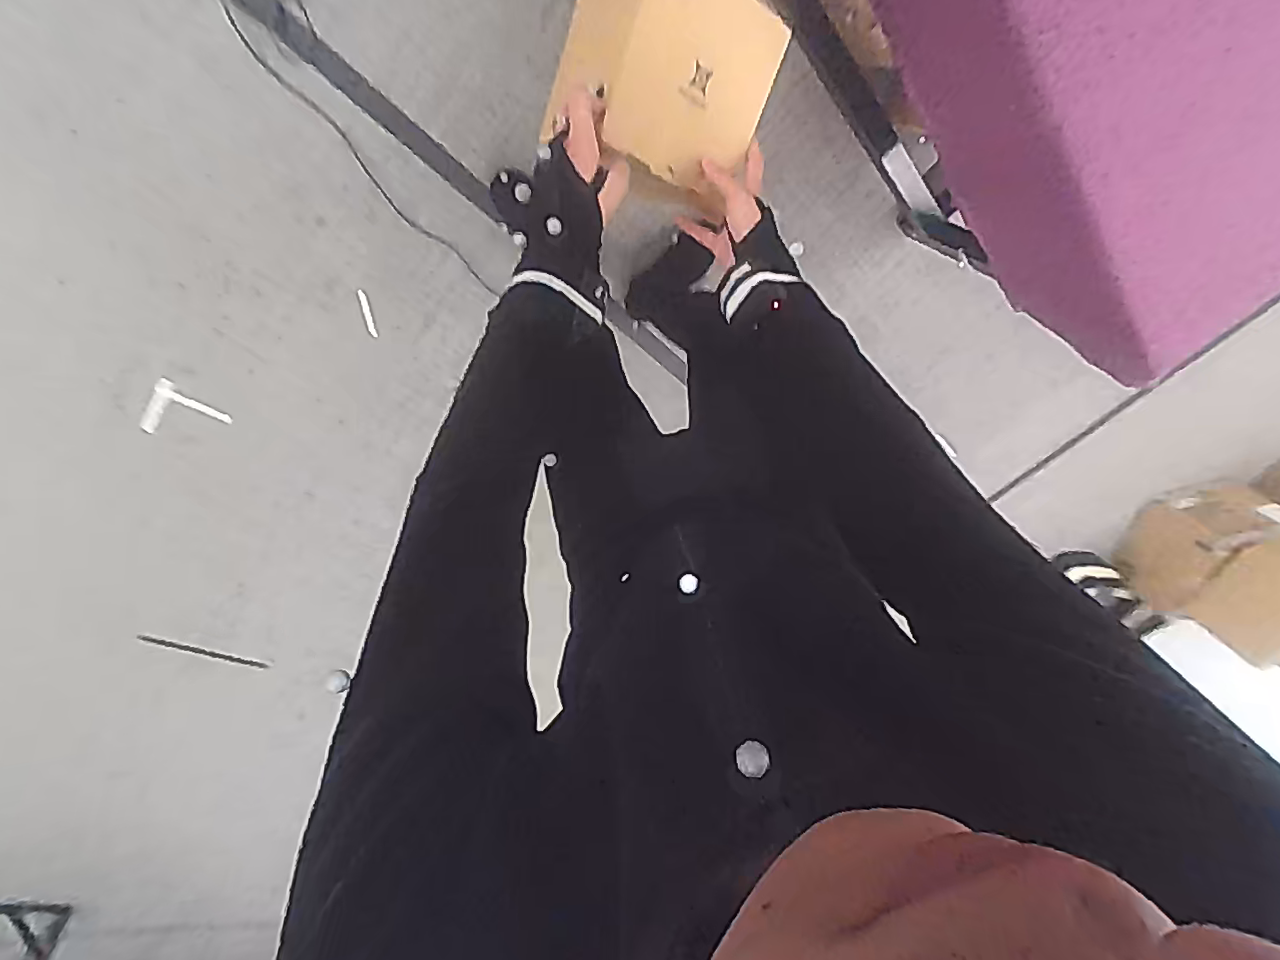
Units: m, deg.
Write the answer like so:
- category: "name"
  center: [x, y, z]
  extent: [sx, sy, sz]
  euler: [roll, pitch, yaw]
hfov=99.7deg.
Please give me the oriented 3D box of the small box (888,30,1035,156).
- category: "small box"
  center: [0.665, -0.816, 1.145]
  extent: [0.168, 0.176, 0.179]
  euler: [5, 126, -16]

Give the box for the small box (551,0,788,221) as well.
- category: "small box"
  center: [0.020, -0.410, 0.591]
  extent: [0.168, 0.176, 0.179]
  euler: [8, 112, -35]
